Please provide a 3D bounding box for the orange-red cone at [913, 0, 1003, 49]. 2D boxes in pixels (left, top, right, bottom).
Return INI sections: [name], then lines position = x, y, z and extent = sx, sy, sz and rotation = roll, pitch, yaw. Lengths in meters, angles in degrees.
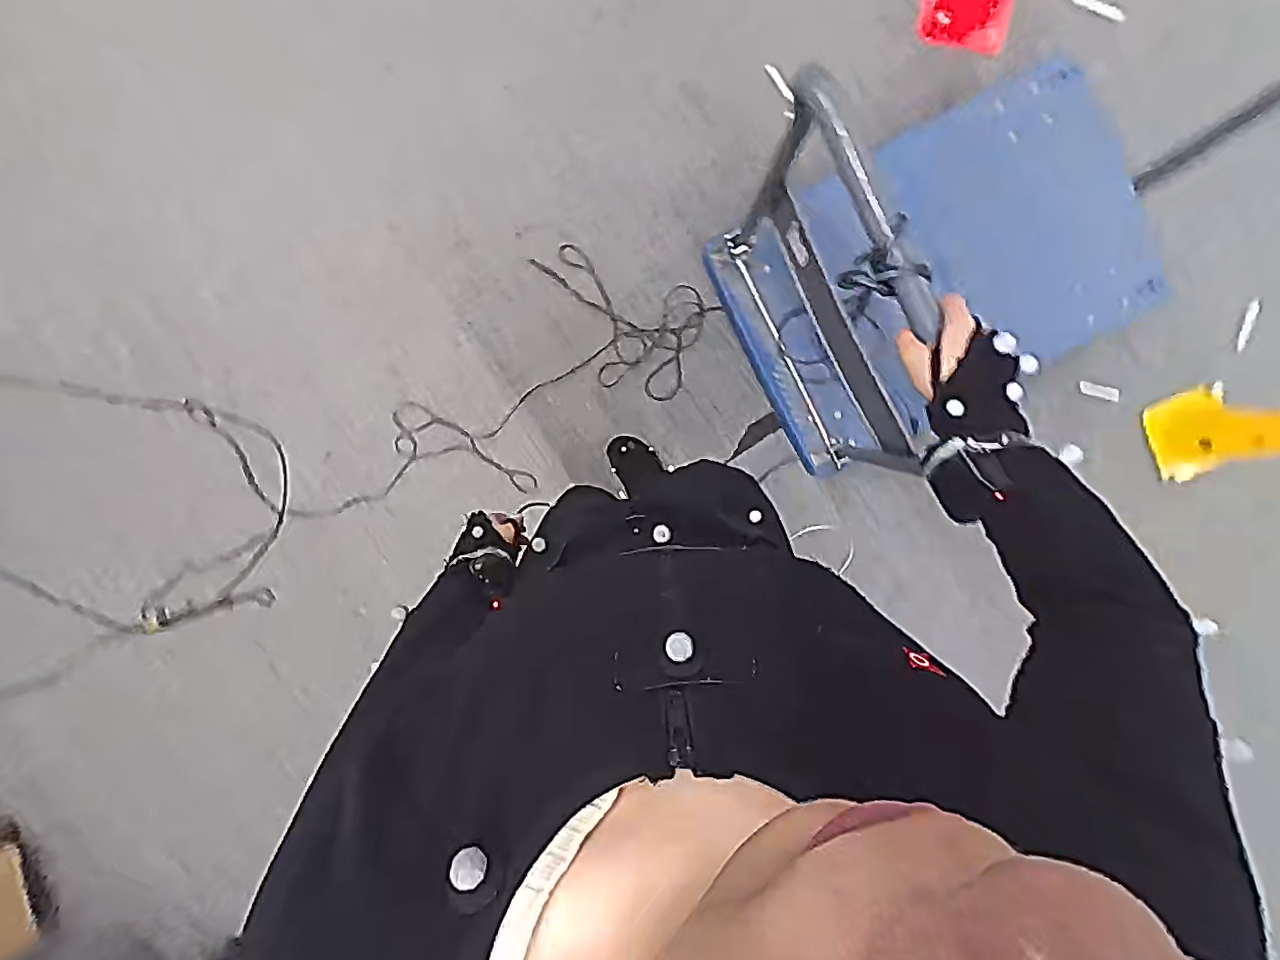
[orange-red cone]
position = 0.756, -1.108, 1.092
extent = 0.199, 0.360, 0.198
rotation = 11, 96, -3
